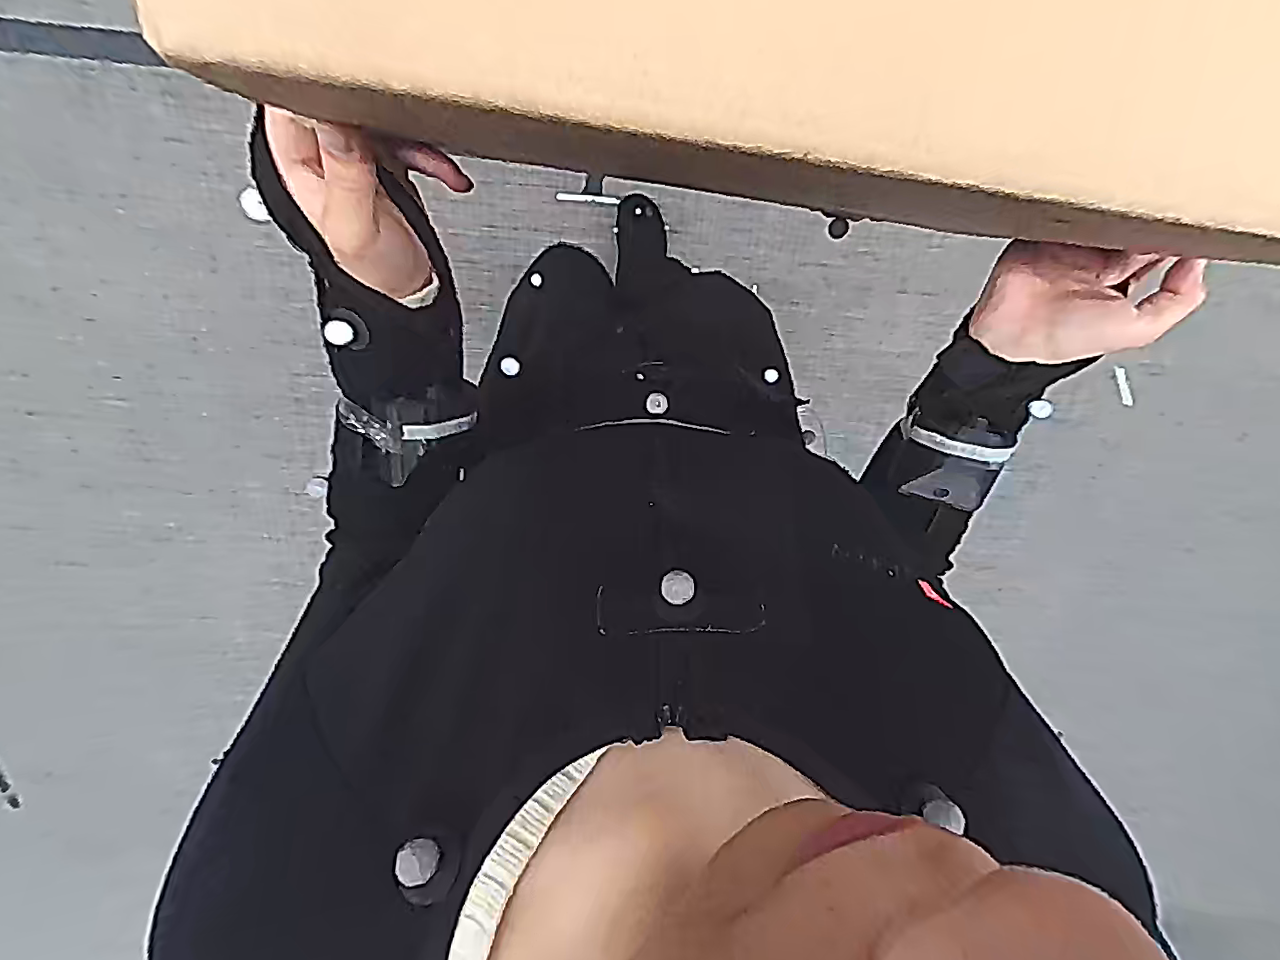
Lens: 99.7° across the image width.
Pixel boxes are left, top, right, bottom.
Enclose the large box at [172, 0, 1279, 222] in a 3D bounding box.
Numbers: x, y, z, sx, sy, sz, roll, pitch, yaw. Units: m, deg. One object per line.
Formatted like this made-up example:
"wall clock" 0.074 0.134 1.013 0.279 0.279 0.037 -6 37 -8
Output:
"large box" 0.085 -0.298 0.206 0.408 0.320 0.320 2 119 -9
